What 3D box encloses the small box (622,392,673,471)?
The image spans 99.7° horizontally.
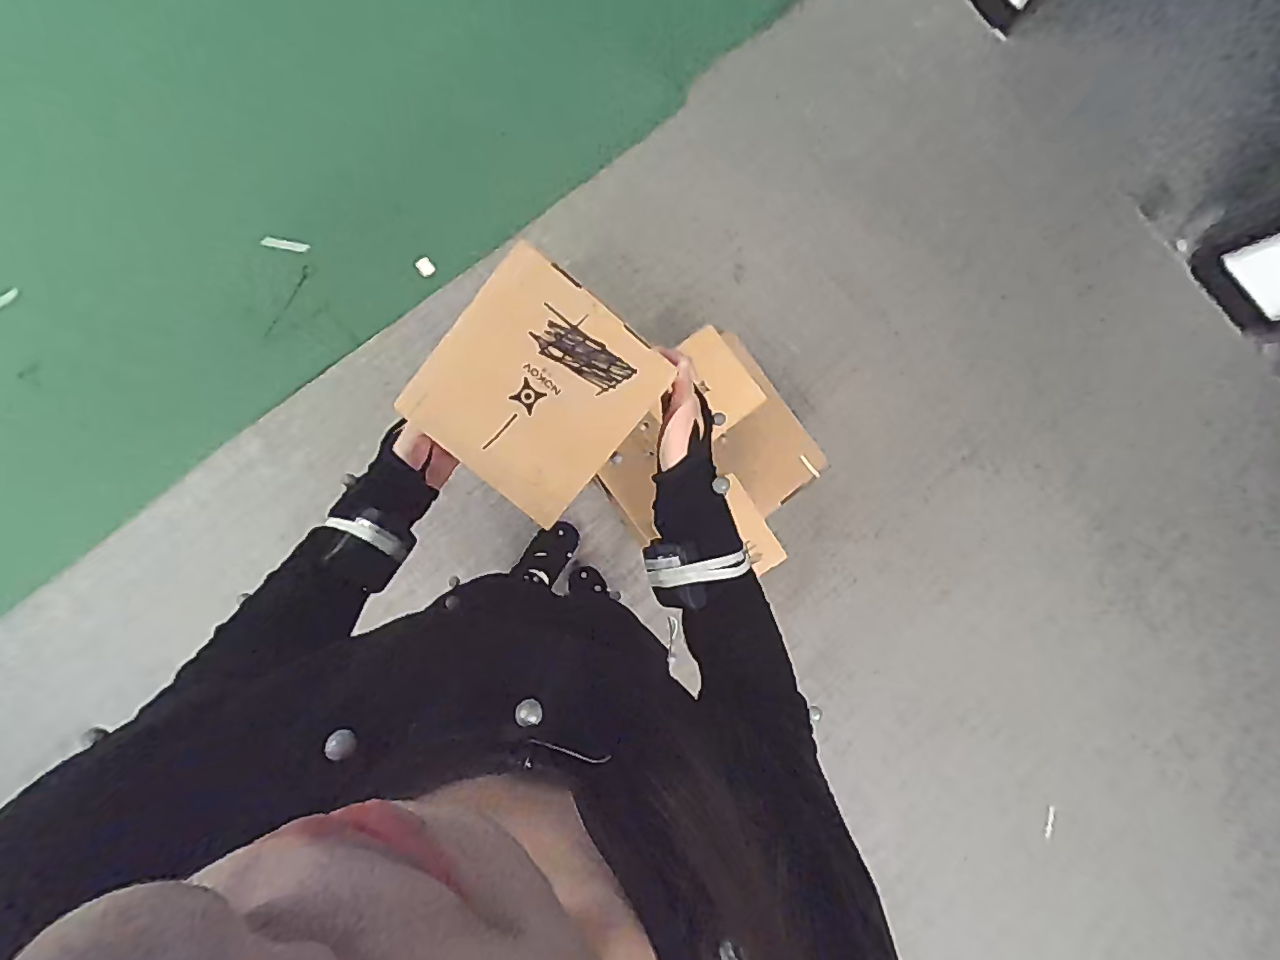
[{"bbox_3d":[0.073,-0.134,1.147,0.179,0.176,0.168,-35,90,-8],"label":"small box"}]

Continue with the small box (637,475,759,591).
[{"bbox_3d":[0.112,0.107,1.132,0.179,0.176,0.168,-34,90,-8],"label":"small box"}]

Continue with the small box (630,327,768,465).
[{"bbox_3d":[0.095,-0.143,0.984,0.179,0.176,0.168,-35,90,-5],"label":"small box"}]
